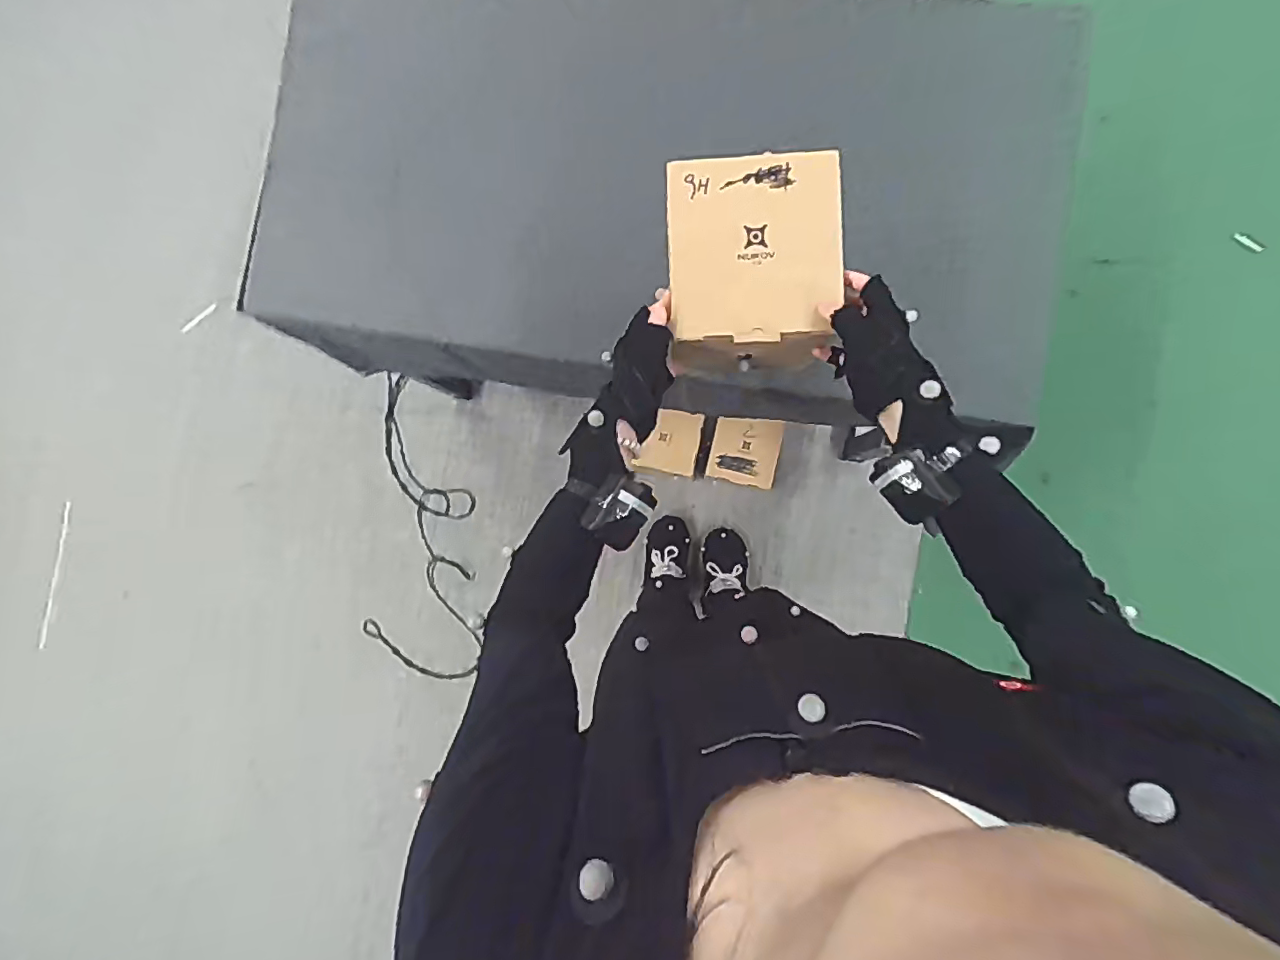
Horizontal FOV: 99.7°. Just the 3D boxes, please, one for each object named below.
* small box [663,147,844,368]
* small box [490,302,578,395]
[{"bbox_3d":[0.111,-0.220,0.584,0.168,0.176,0.179,-3,91,3],"label":"small box"},{"bbox_3d":[-0.278,-0.348,1.461,0.168,0.176,0.179,18,88,7],"label":"small box"}]
